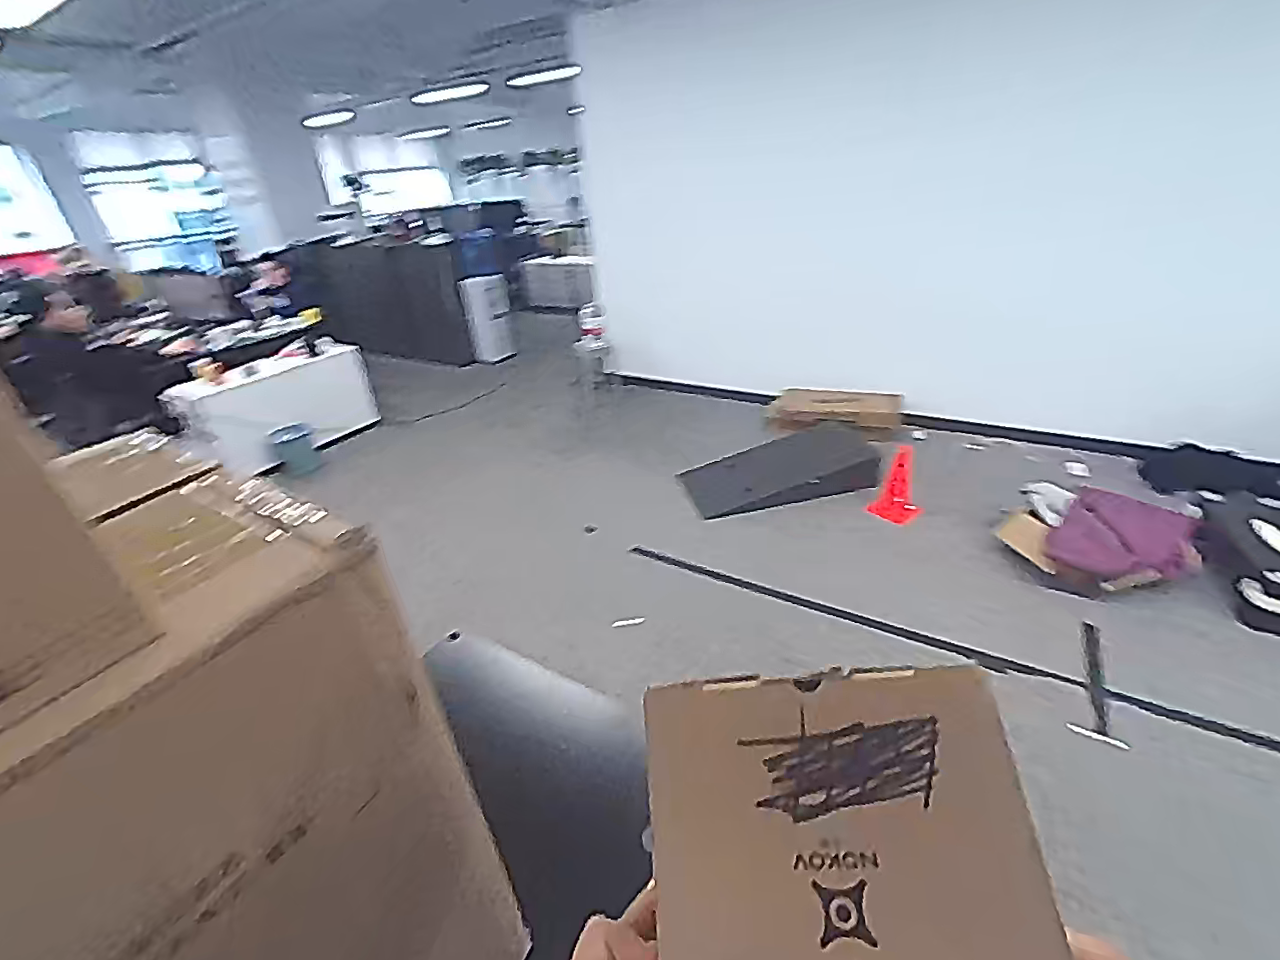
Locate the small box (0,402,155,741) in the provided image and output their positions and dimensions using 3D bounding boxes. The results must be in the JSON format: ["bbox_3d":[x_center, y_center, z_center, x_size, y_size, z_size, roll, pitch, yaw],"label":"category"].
[{"bbox_3d":[-0.372,0.038,0.229,0.179,0.176,0.168,13,35,27],"label":"small box"}]

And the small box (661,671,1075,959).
[{"bbox_3d":[0.108,0.215,0.308,0.168,0.176,0.179,-7,64,10],"label":"small box"}]
